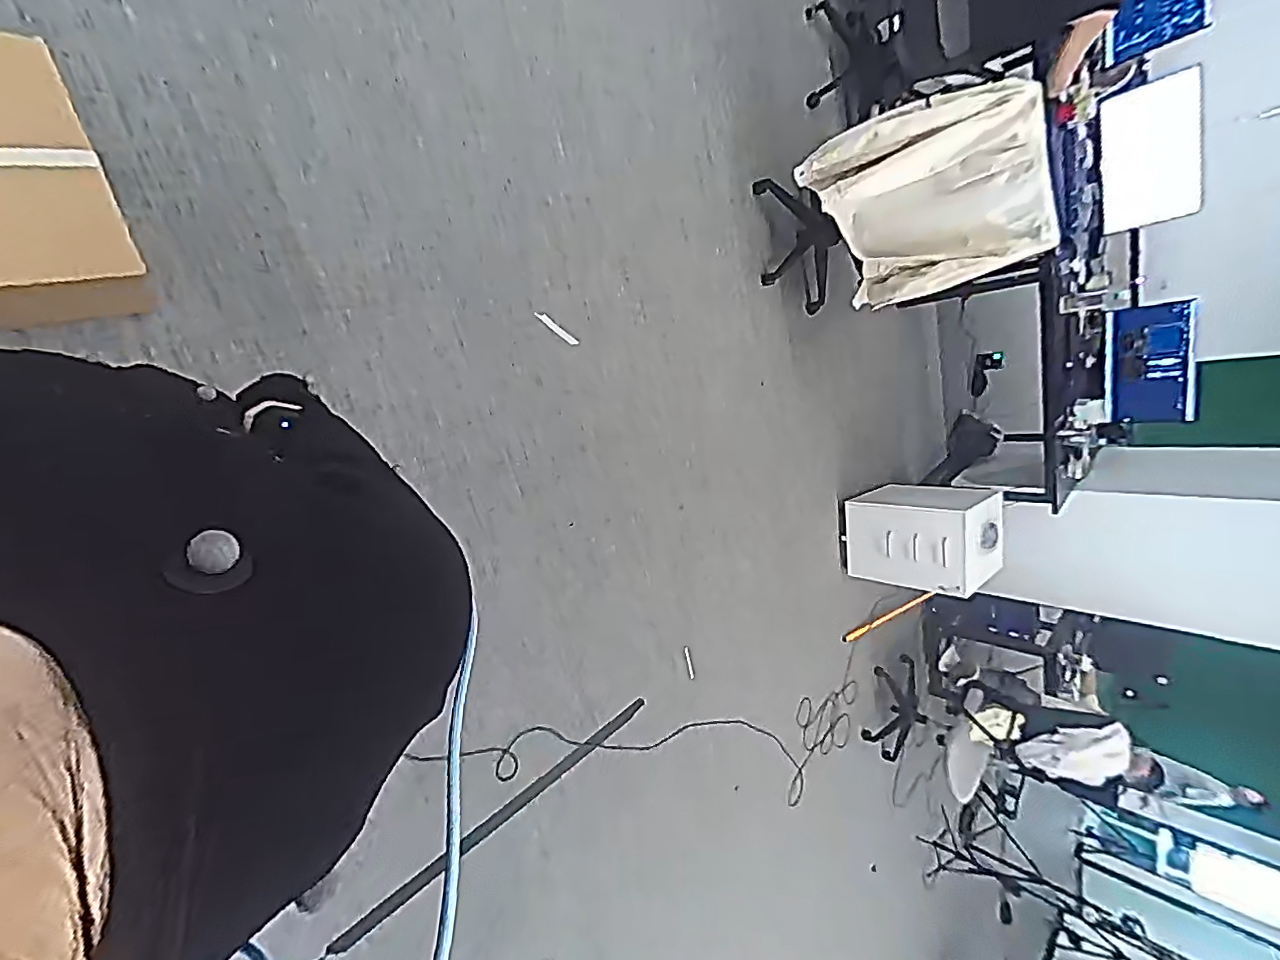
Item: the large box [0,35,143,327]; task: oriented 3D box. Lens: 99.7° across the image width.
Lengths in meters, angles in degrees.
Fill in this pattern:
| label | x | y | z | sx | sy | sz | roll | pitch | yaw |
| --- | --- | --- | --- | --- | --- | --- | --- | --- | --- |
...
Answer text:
| label | x | y | z | sx | sy | sz | roll | pitch | yaw |
| --- | --- | --- | --- | --- | --- | --- | --- | --- | --- |
| large box | -1.022 | -0.390 | 0.759 | 0.408 | 0.320 | 0.320 | -26 | 110 | -38 |
